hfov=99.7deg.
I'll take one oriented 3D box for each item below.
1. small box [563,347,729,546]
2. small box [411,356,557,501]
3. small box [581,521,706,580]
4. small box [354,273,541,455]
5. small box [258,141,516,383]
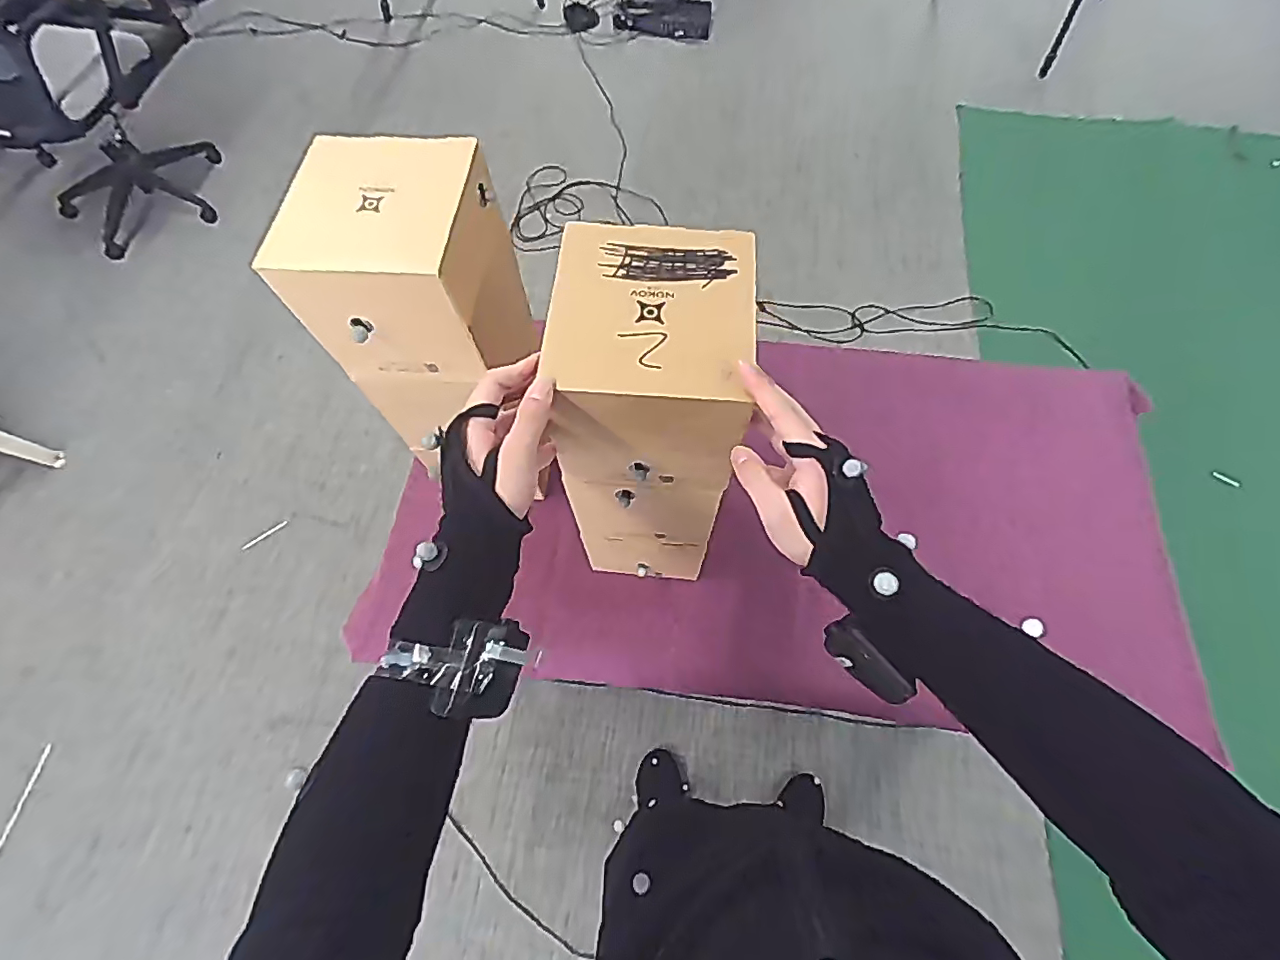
[{"bbox_3d":[0.012,-0.034,0.655,0.168,0.176,0.179,5,66,4],"label":"small box"},{"bbox_3d":[-0.232,-0.083,0.862,0.168,0.176,0.179,4,66,3],"label":"small box"},{"bbox_3d":[0.014,0.036,0.802,0.168,0.176,0.179,5,66,4],"label":"small box"},{"bbox_3d":[-0.235,-0.152,0.713,0.168,0.176,0.179,4,67,4],"label":"small box"},{"bbox_3d":[-0.239,-0.218,0.565,0.168,0.176,0.179,3,65,4],"label":"small box"}]
